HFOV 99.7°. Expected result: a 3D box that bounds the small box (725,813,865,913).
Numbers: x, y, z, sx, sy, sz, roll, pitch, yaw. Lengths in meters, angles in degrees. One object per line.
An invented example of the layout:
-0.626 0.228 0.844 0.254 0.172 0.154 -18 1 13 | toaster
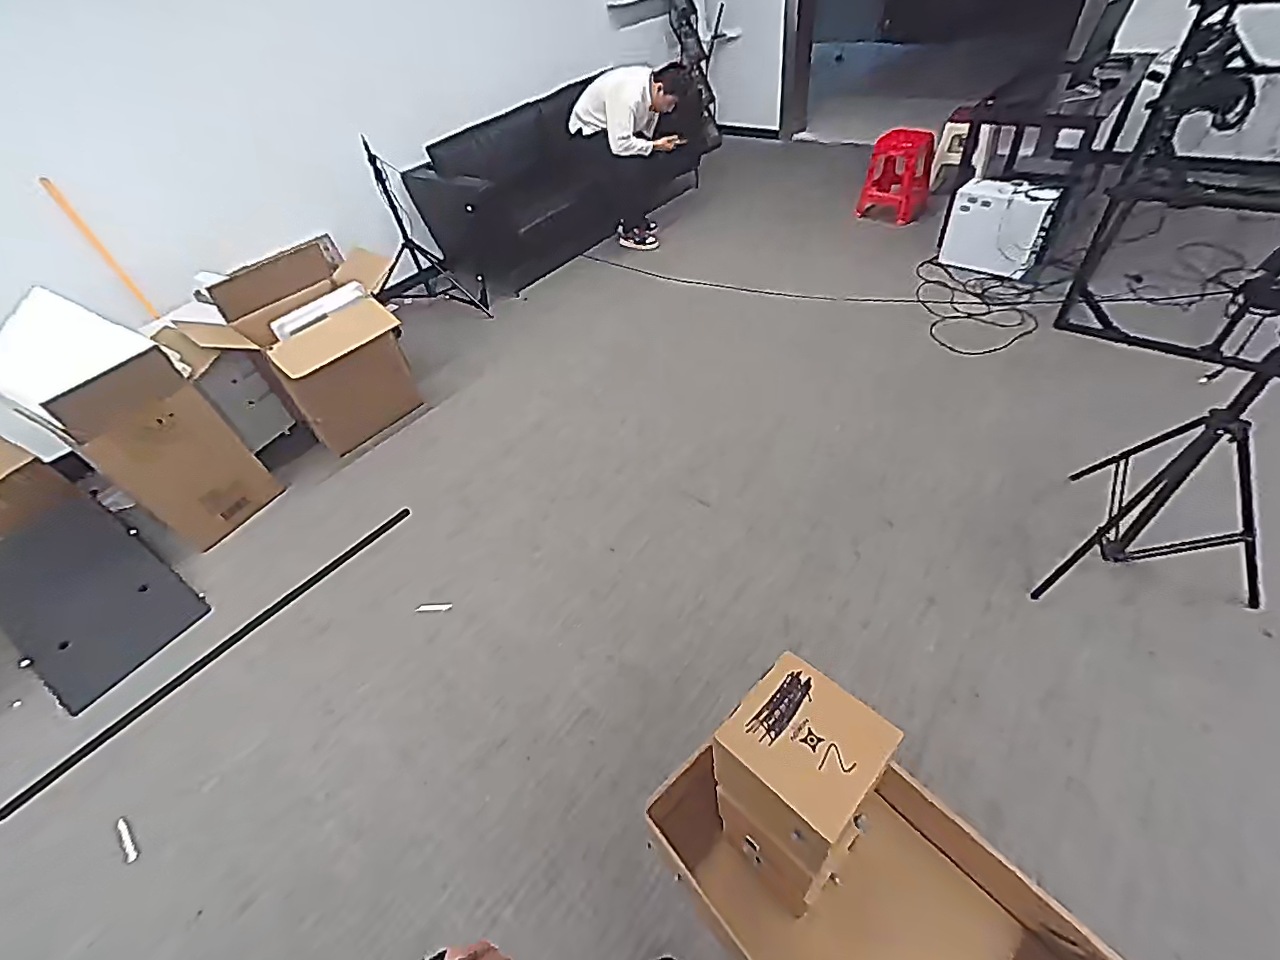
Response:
0.263 0.620 0.958 0.168 0.176 0.179 -37 52 -25 | small box

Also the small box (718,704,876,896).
0.237 0.500 0.848 0.168 0.176 0.179 31 57 34 | small box
